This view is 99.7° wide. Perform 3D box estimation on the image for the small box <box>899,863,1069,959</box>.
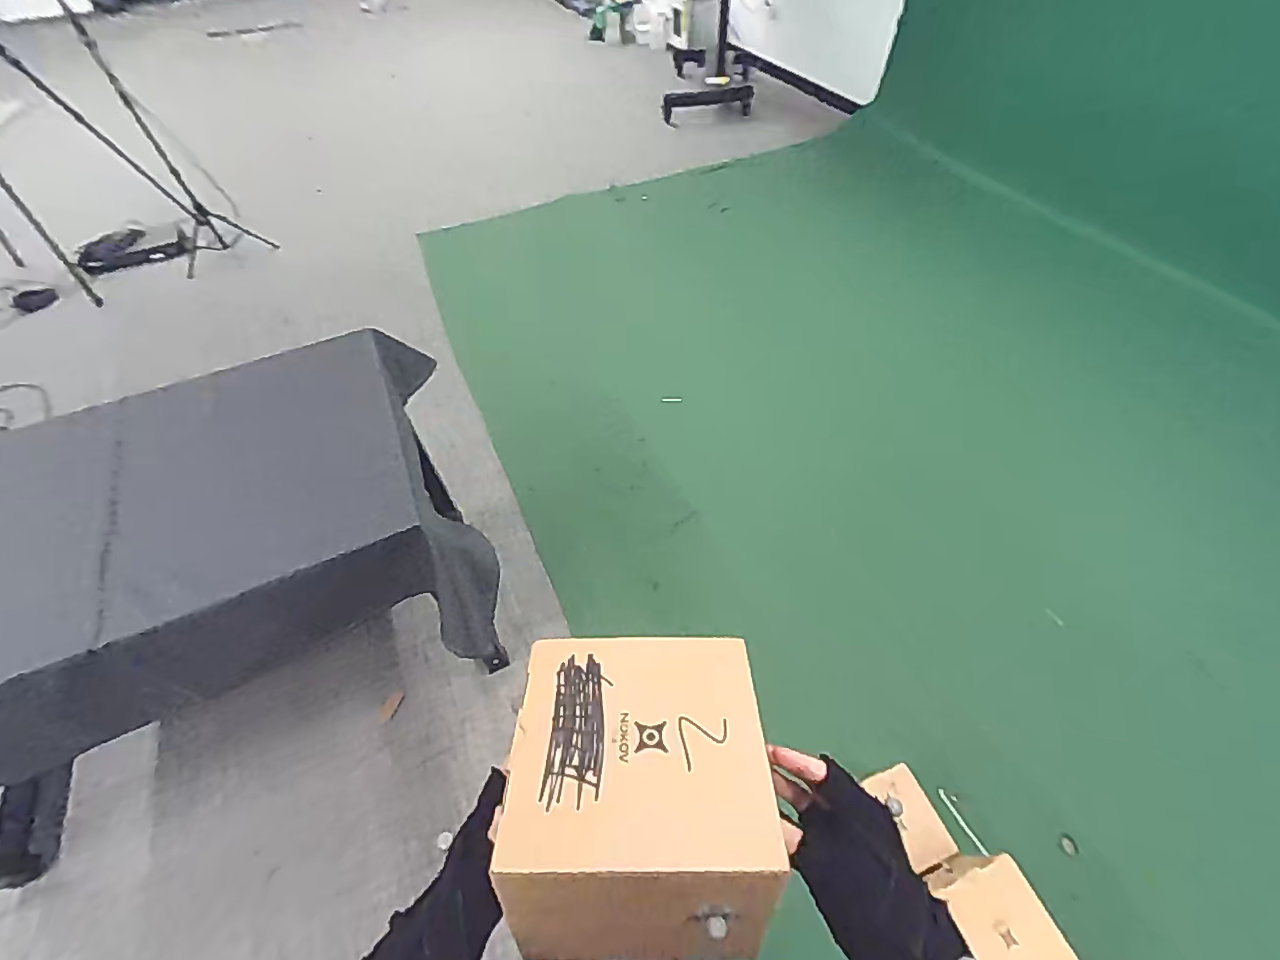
[{"bbox_3d":[0.588,0.793,0.930,0.168,0.176,0.179,-17,52,-10],"label":"small box"}]
